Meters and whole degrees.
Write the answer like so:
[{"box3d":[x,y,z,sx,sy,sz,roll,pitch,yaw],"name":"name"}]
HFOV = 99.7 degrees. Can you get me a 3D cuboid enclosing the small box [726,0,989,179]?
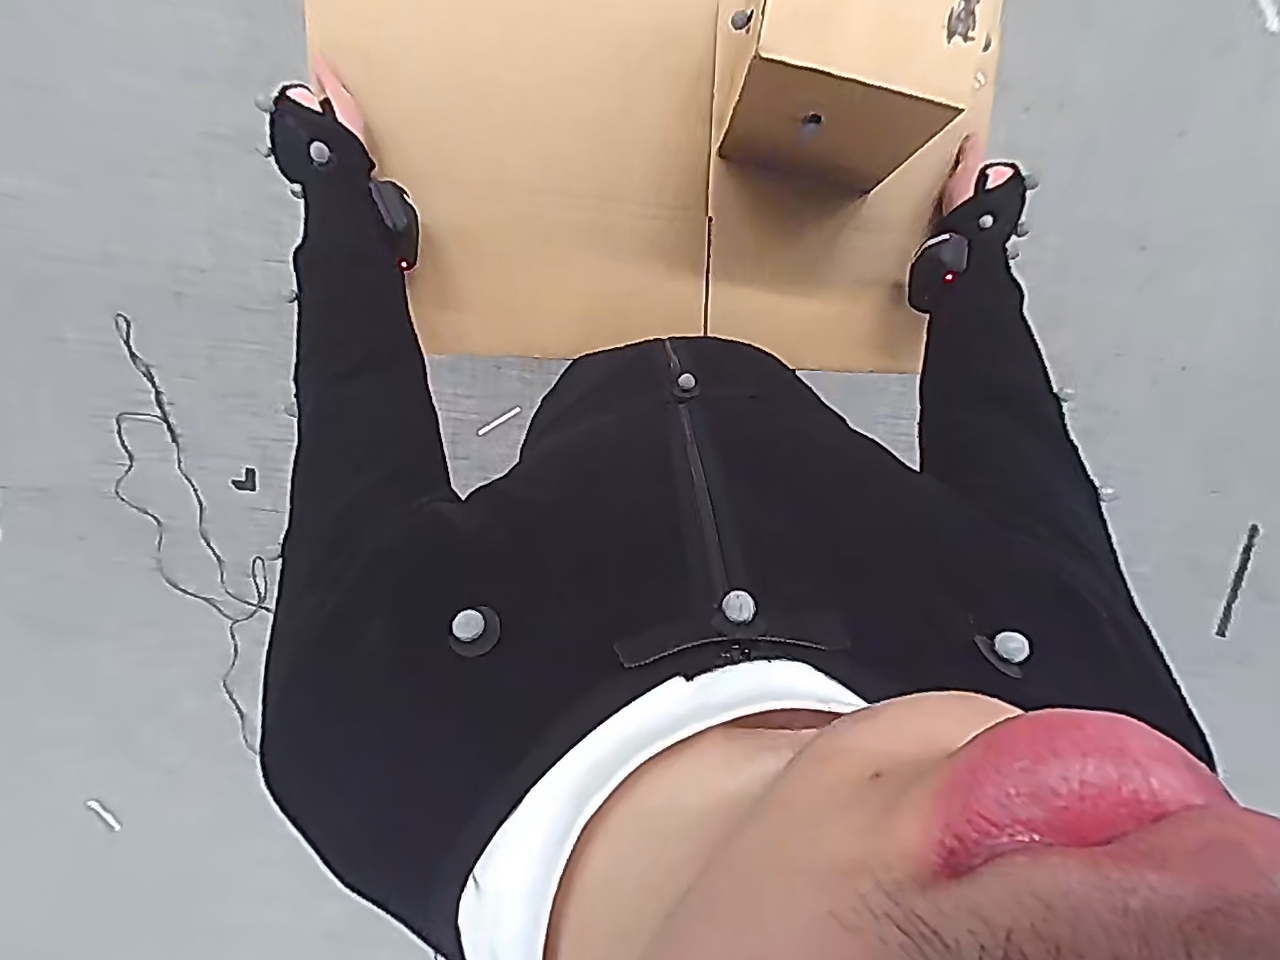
[{"box3d":[0.187,-0.405,0.495,0.179,0.176,0.168,11,98,-2],"name":"small box"}]
